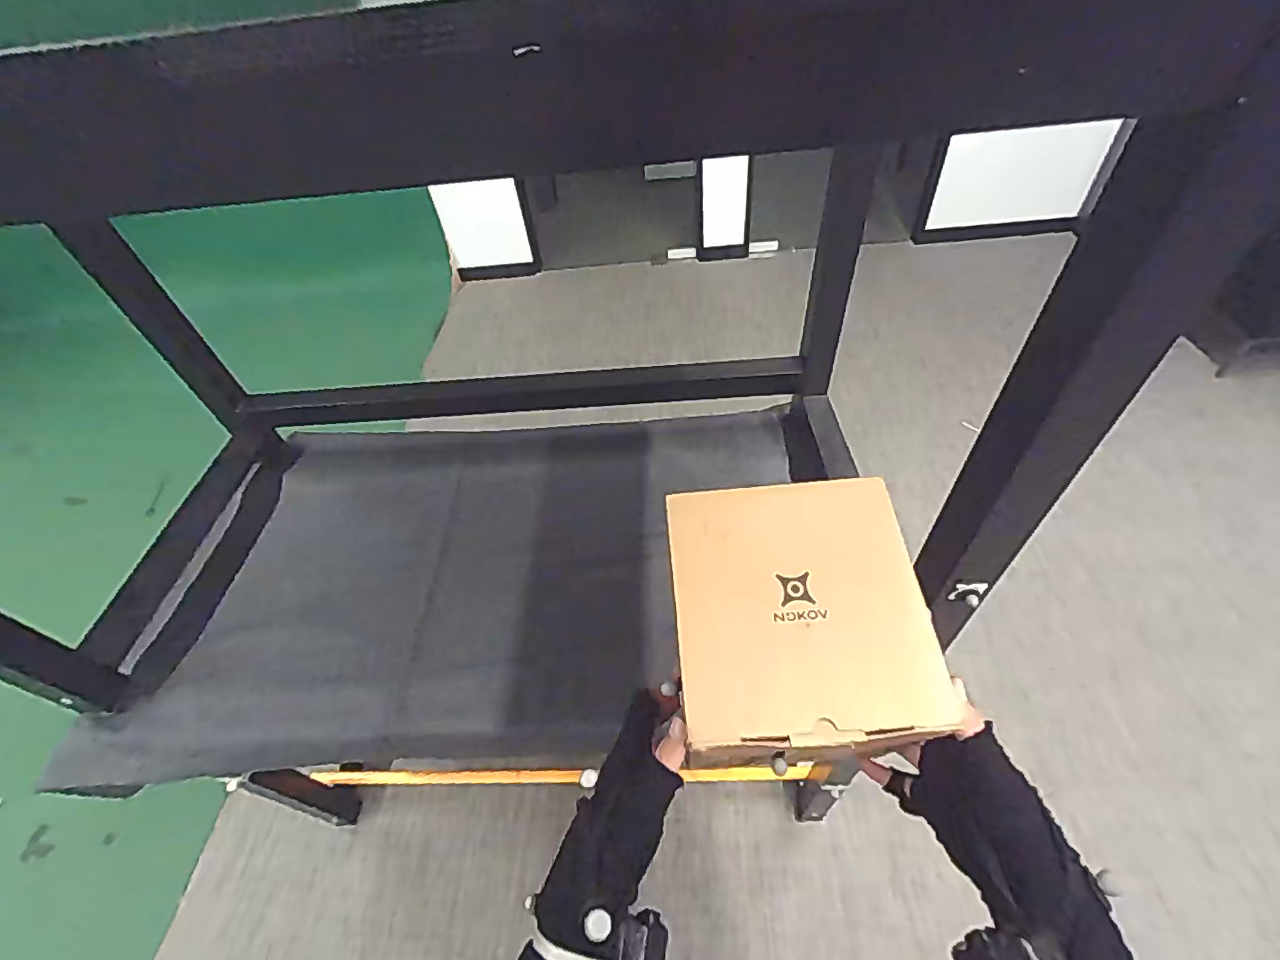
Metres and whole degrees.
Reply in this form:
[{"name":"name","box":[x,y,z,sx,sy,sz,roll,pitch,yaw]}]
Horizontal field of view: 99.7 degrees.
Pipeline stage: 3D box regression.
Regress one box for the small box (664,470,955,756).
[{"name":"small box","box":[0.106,0.112,0.432,0.168,0.176,0.179,-5,59,2]}]
